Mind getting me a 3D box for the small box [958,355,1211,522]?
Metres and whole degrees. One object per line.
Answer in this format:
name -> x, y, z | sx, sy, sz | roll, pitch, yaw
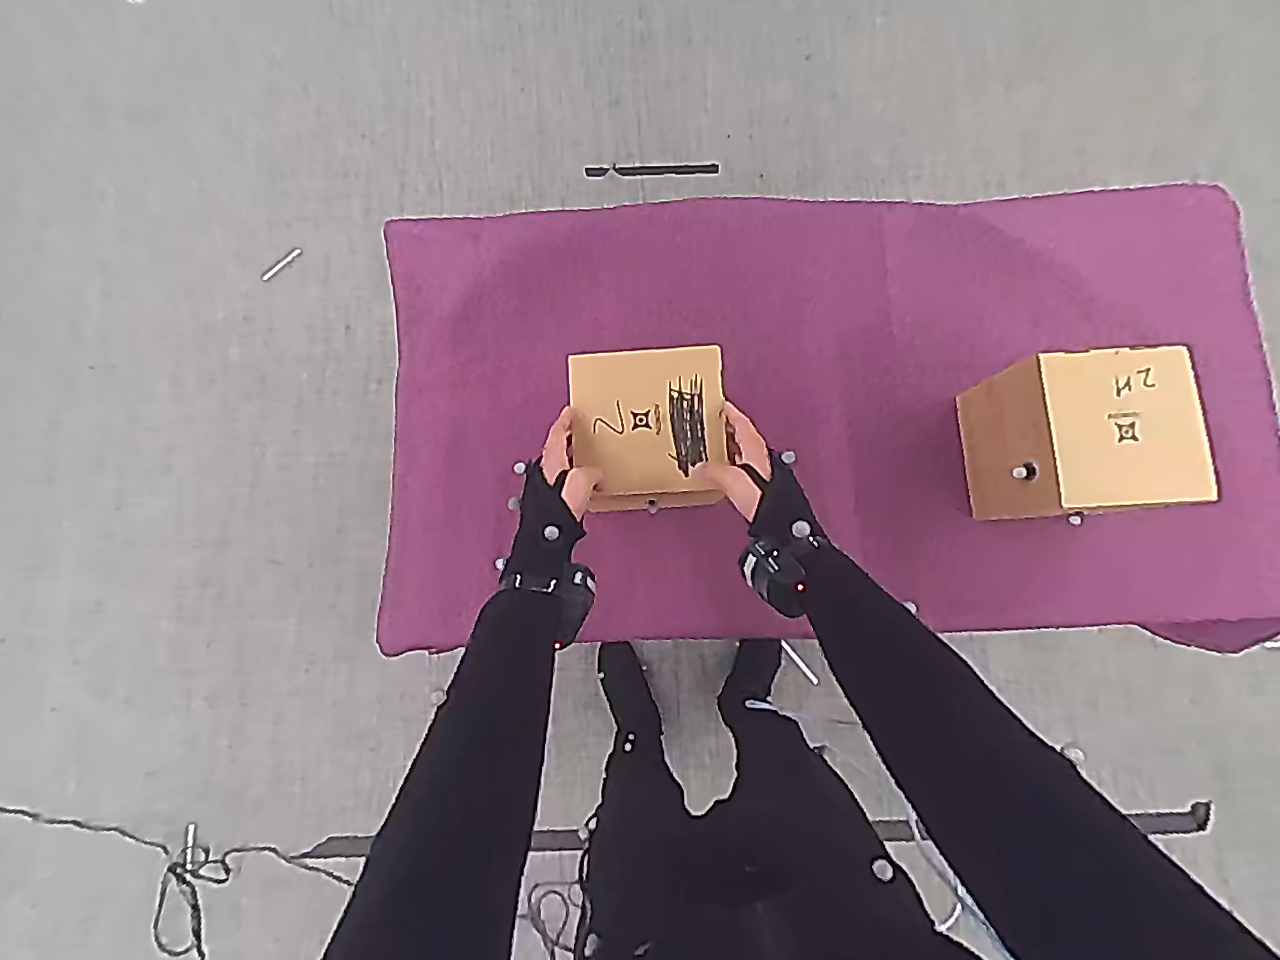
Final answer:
small box -> 0.526, -0.039, 0.668 | 0.168, 0.176, 0.179 | -3, 81, 1
